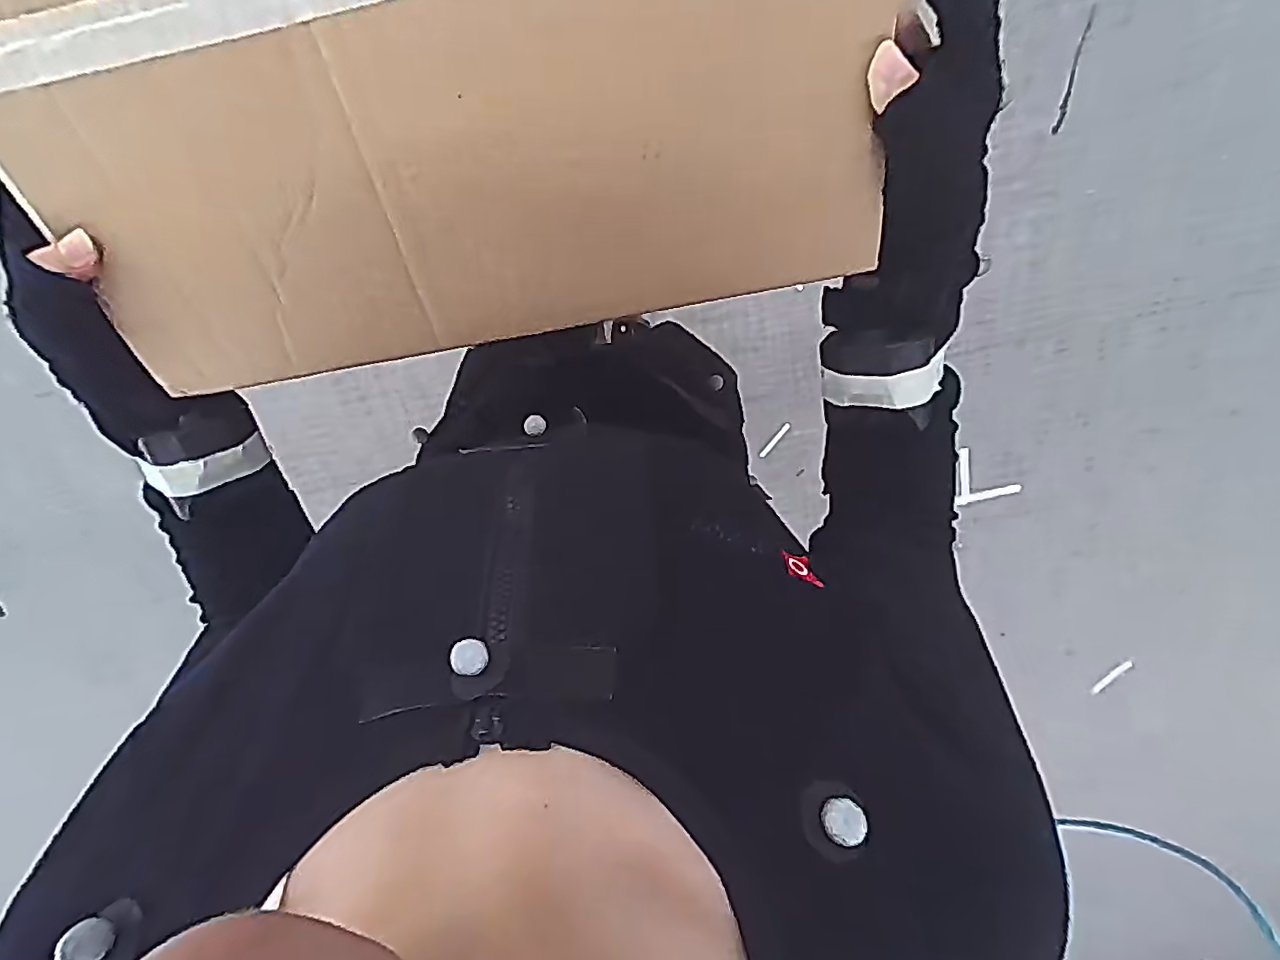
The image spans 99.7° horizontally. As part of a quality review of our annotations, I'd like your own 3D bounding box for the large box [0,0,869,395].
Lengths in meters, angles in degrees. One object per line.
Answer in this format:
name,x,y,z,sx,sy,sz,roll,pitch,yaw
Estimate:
large box,-0.105,-0.293,0.346,0.408,0.320,0.320,-9,124,5
